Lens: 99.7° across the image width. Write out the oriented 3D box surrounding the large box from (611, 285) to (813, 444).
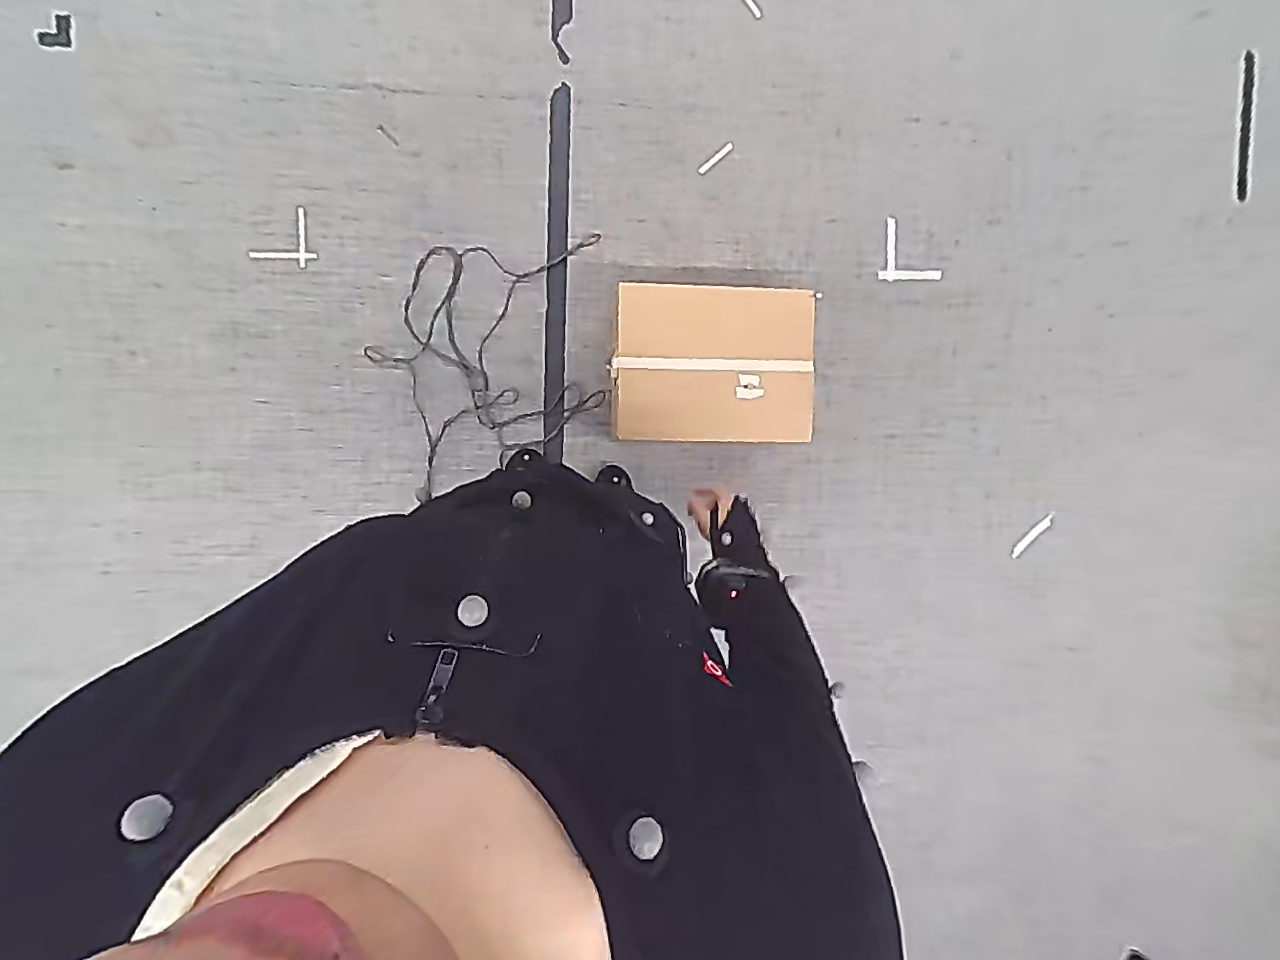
[{"bbox_3d":[0.141,-0.243,1.244,0.408,0.320,0.320,0,94,-6],"label":"large box"}]
